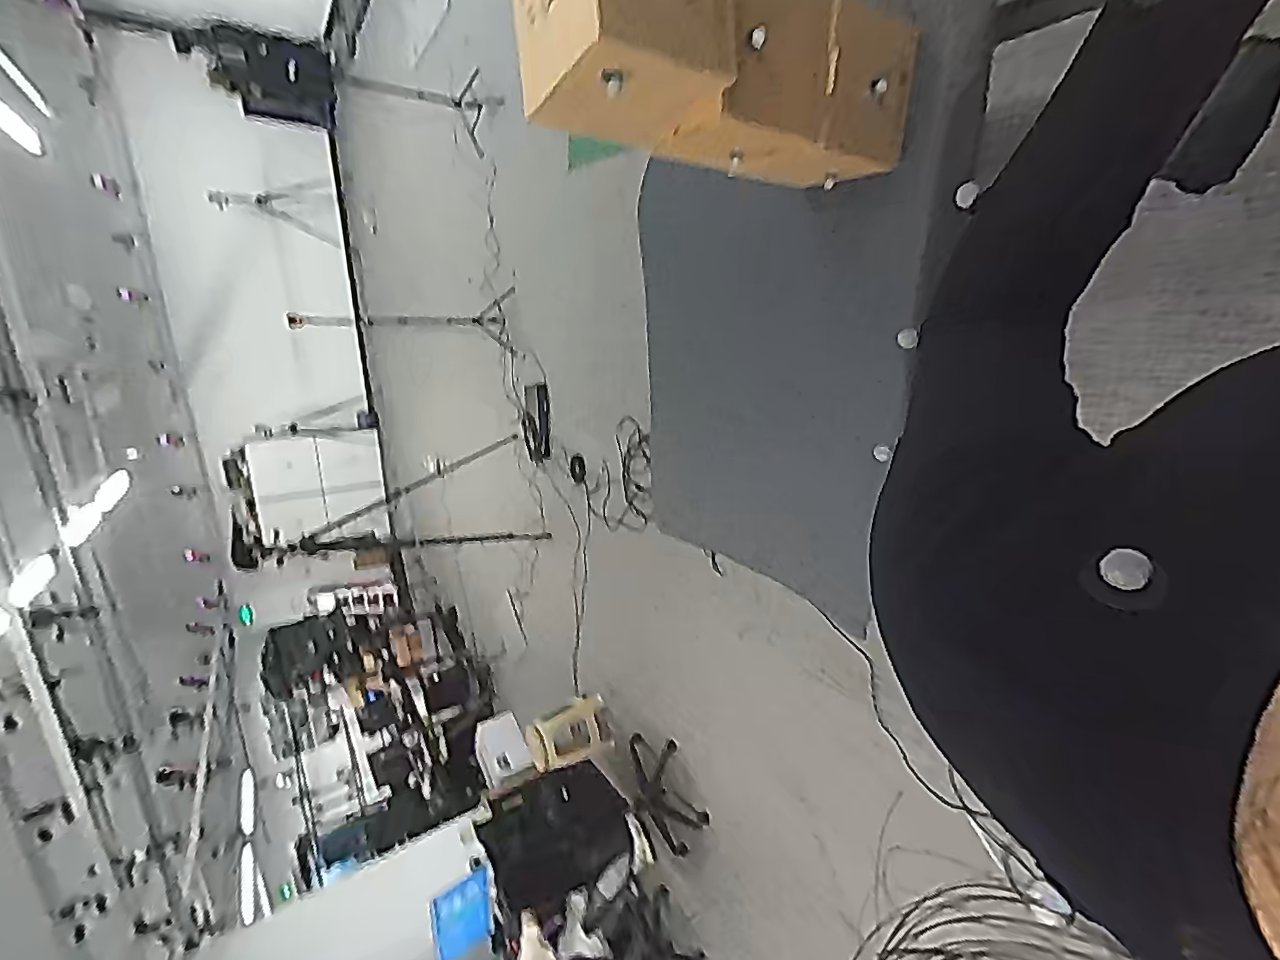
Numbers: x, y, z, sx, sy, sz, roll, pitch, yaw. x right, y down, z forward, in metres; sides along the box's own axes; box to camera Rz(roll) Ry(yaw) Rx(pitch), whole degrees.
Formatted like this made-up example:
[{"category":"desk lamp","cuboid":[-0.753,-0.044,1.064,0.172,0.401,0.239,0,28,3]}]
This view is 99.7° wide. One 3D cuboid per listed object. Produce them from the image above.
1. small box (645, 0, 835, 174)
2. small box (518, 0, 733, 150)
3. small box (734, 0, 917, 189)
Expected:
[{"category":"small box","cuboid":[0.120,-0.503,0.671,0.168,0.176,0.179,23,119,54]},{"category":"small box","cuboid":[-0.014,-0.482,0.576,0.179,0.176,0.168,10,108,57]},{"category":"small box","cuboid":[0.256,-0.519,0.760,0.179,0.176,0.168,25,120,52]}]
